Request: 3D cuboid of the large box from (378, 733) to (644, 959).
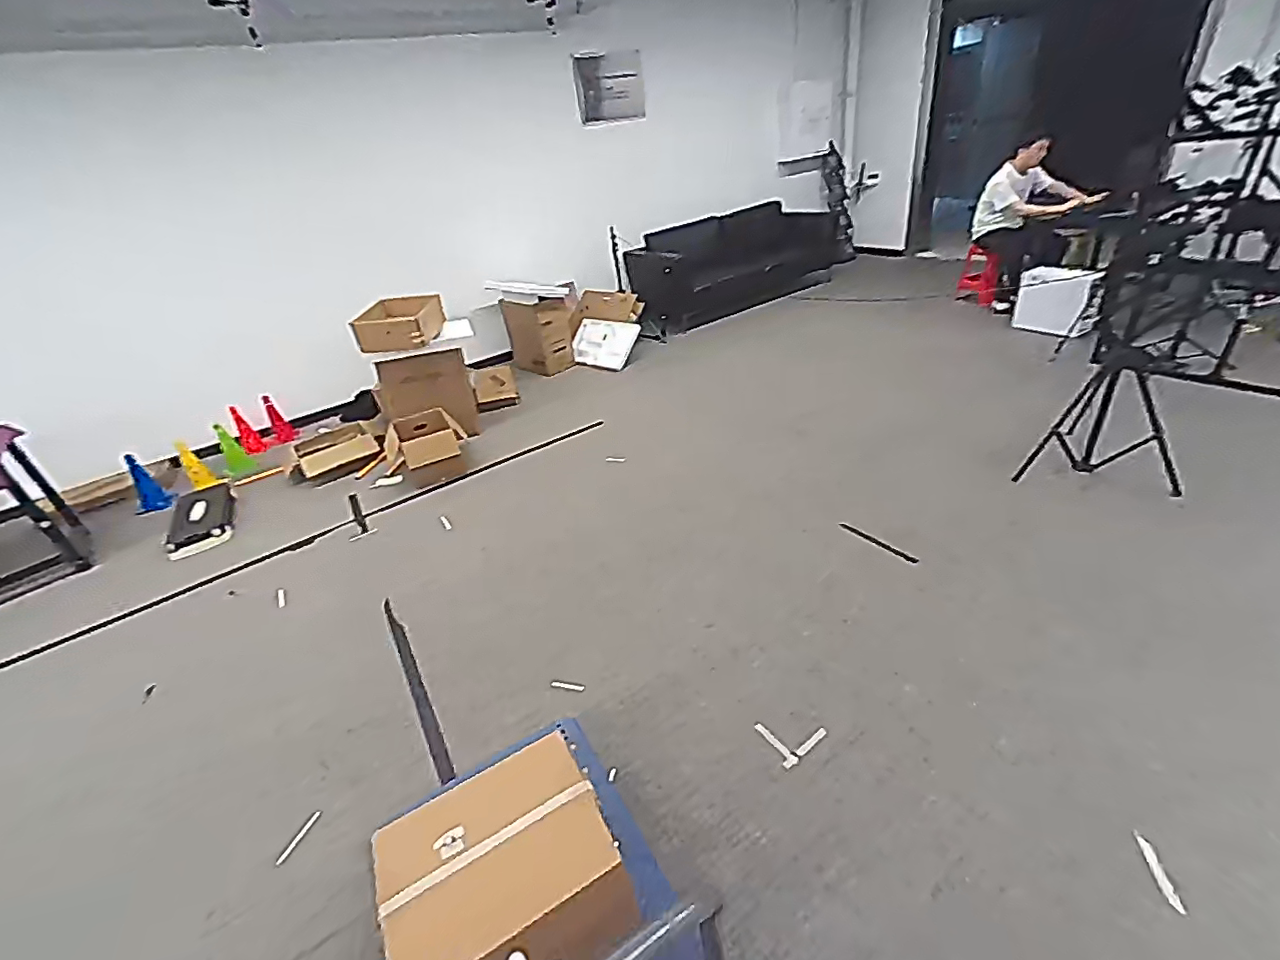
[{"bbox_3d":[-0.252,0.823,1.101,0.408,0.320,0.320,-24,33,-21],"label":"large box"}]
